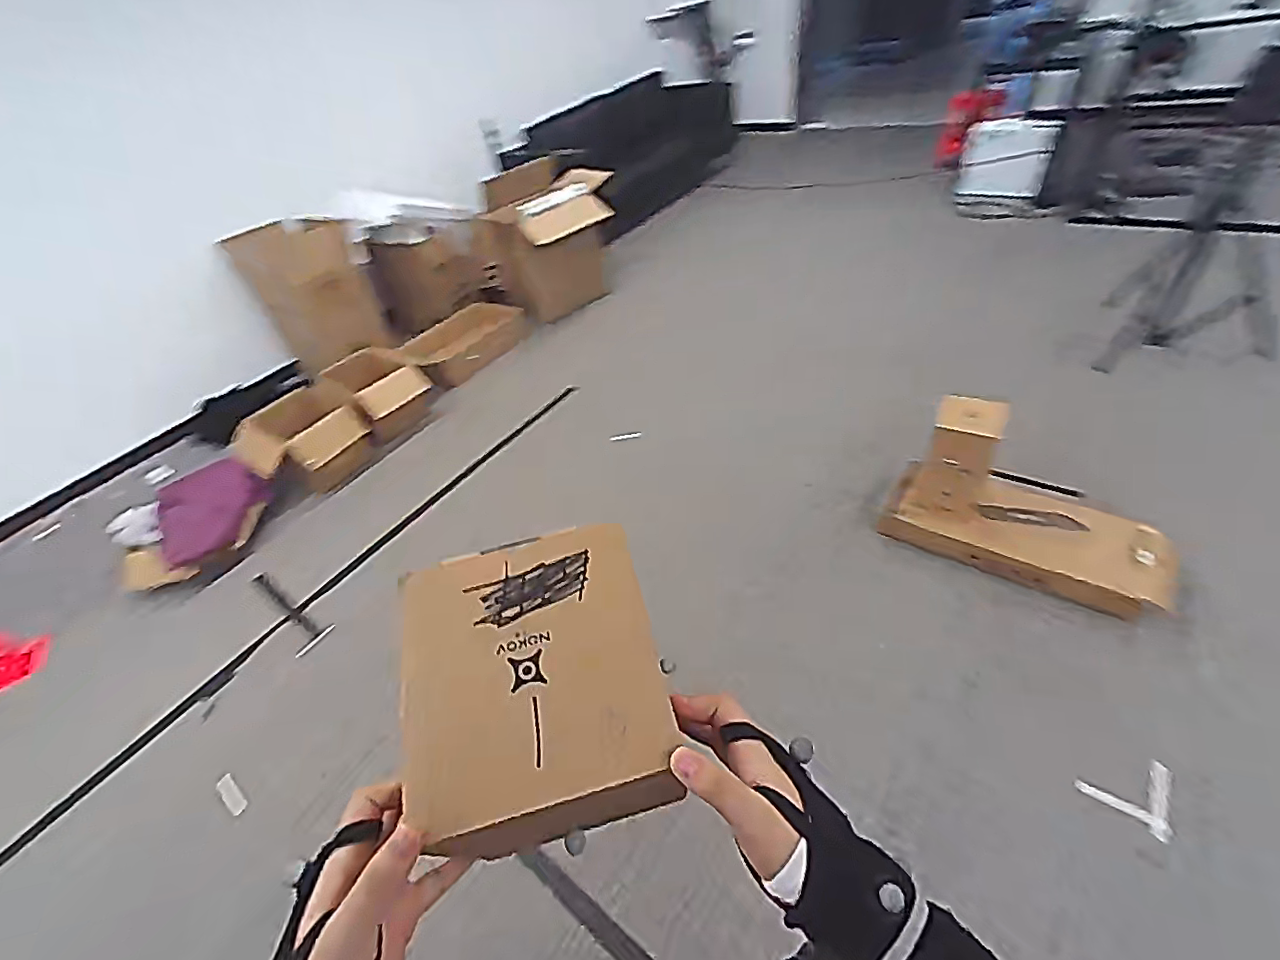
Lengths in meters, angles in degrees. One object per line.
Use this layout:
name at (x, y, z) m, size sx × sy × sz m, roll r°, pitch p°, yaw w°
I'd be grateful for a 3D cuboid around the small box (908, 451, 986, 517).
small box at (0.981, -0.011, 1.741) m, size 0.168 × 0.176 × 0.179 m, roll 23°, pitch 53°, yaw 31°

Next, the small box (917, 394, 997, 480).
small box at (0.953, -0.130, 1.633) m, size 0.168 × 0.176 × 0.179 m, roll 16°, pitch 49°, yaw 28°

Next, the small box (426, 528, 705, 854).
small box at (-0.055, 0.168, 0.424) m, size 0.168 × 0.176 × 0.179 m, roll -14°, pitch 54°, yaw -5°
